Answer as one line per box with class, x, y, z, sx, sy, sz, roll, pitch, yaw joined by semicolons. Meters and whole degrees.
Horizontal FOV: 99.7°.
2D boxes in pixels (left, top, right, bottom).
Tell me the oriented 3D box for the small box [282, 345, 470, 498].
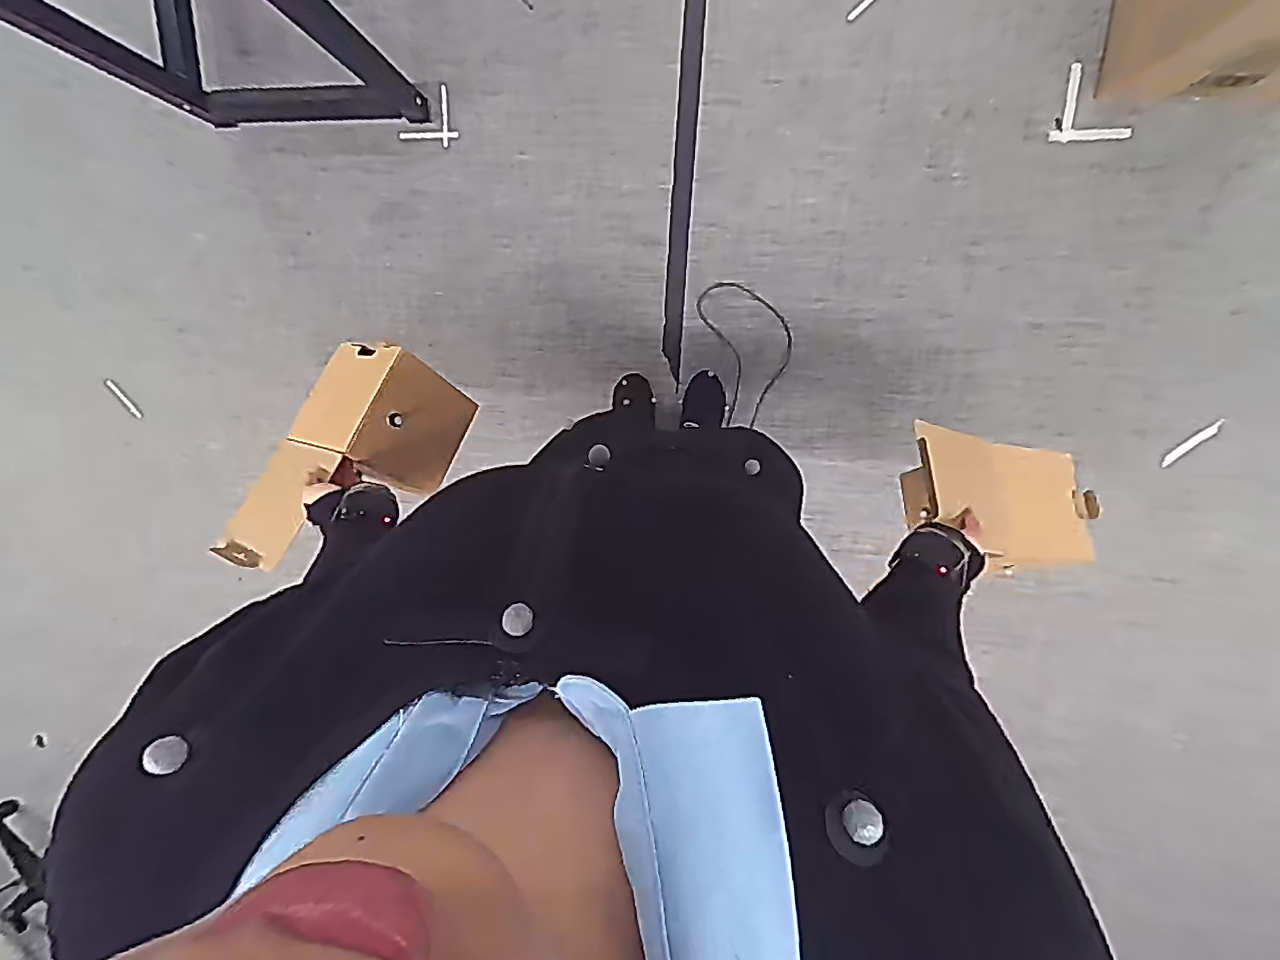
small box;-0.400;-0.088;0.844;0.168;0.176;0.179;11;71;31
